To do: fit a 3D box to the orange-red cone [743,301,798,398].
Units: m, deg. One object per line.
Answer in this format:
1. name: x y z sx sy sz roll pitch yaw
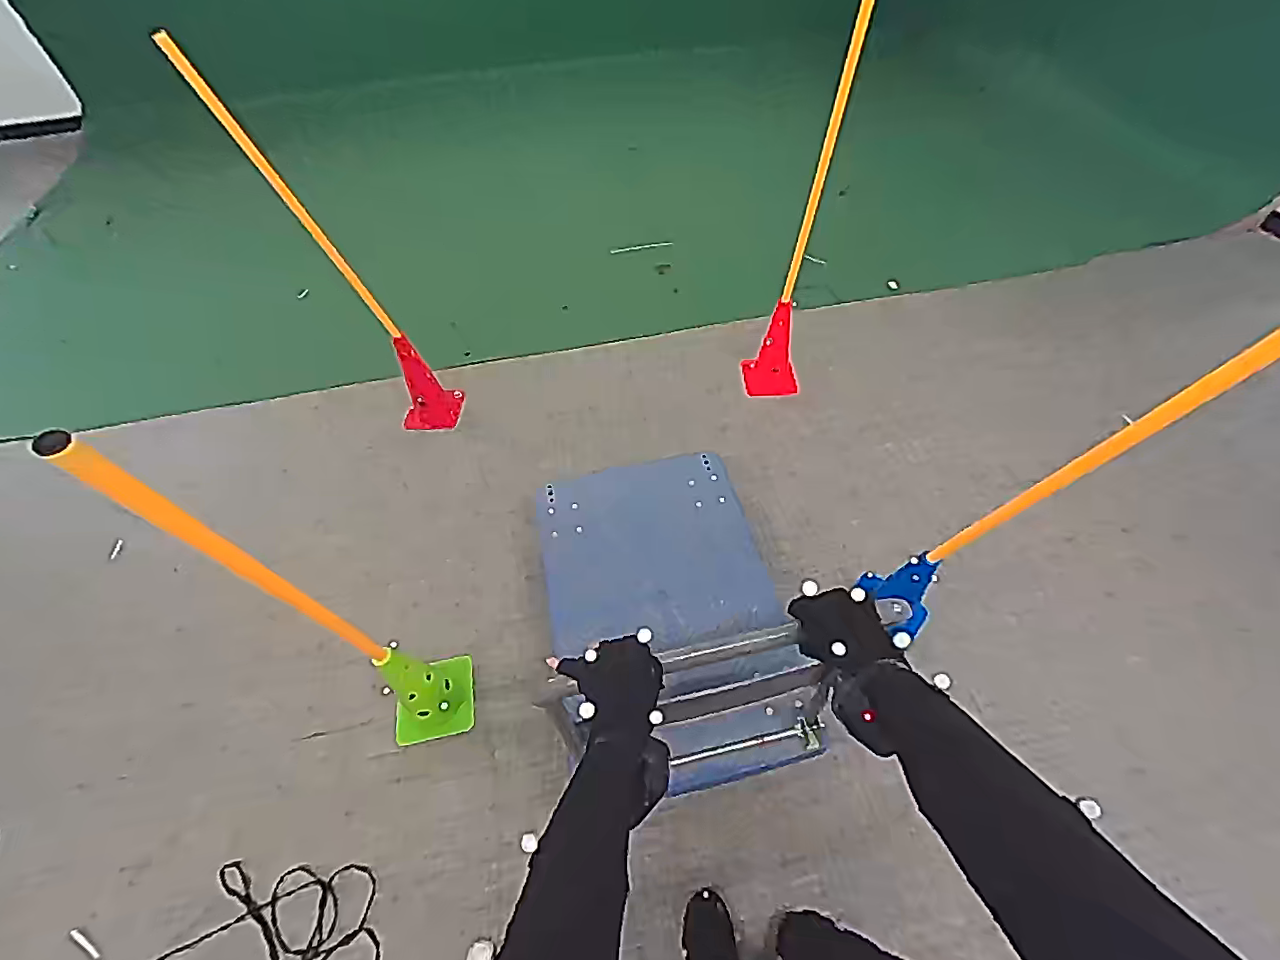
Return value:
1. orange-red cone: 0.497 -0.489 1.963 0.198 0.360 0.199 -2 55 2
